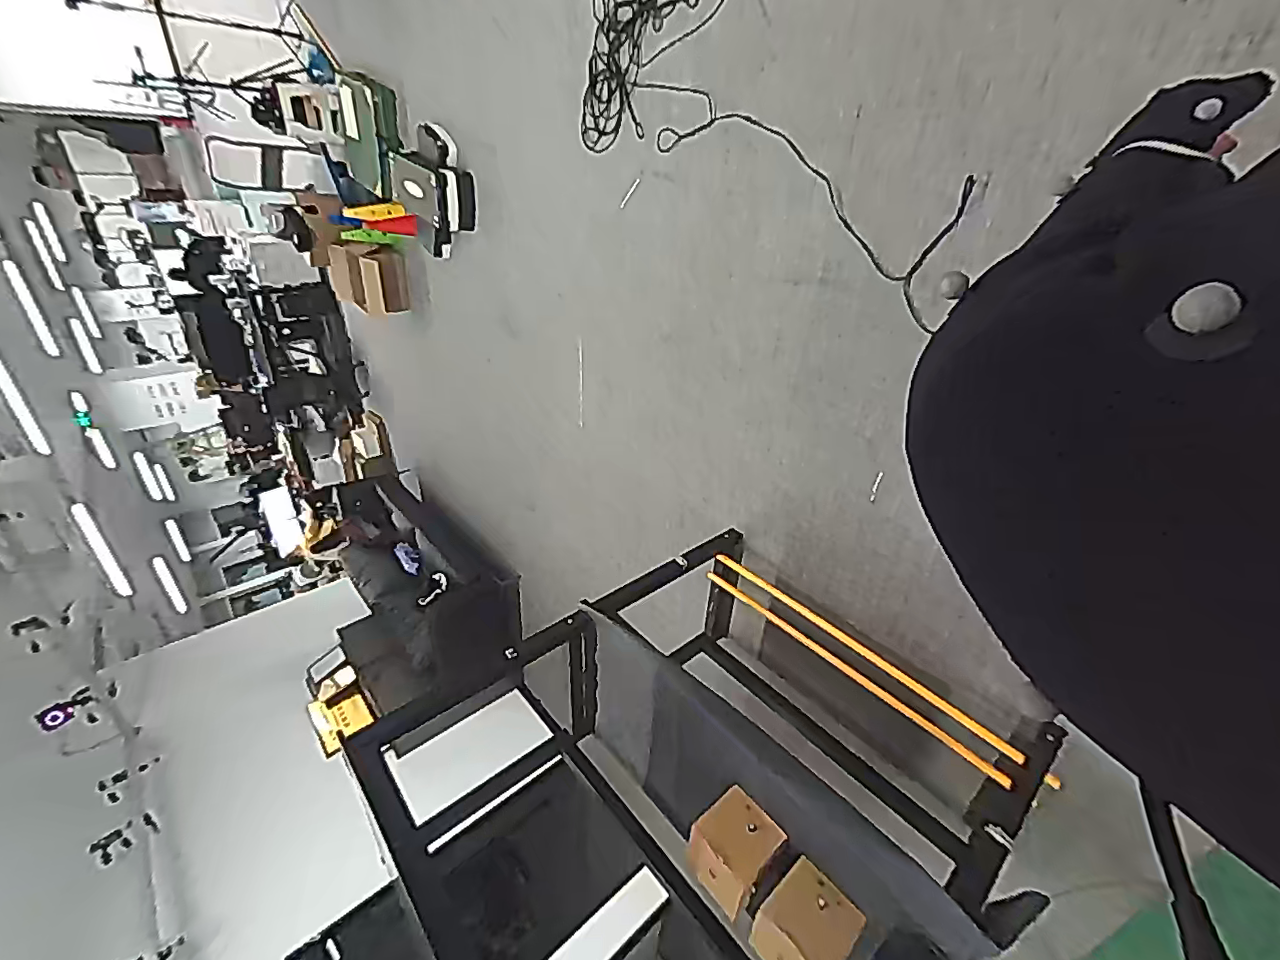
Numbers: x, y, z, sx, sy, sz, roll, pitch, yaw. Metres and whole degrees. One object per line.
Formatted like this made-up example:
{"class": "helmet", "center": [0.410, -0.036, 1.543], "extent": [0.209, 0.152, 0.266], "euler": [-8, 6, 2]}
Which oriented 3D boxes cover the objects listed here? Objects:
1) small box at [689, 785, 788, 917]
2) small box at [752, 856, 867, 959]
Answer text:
{"class": "small box", "center": [0.243, 0.906, 1.333], "extent": [0.168, 0.176, 0.179], "euler": [32, 131, 40]}
{"class": "small box", "center": [0.376, 0.998, 1.203], "extent": [0.168, 0.176, 0.179], "euler": [32, 131, 40]}
